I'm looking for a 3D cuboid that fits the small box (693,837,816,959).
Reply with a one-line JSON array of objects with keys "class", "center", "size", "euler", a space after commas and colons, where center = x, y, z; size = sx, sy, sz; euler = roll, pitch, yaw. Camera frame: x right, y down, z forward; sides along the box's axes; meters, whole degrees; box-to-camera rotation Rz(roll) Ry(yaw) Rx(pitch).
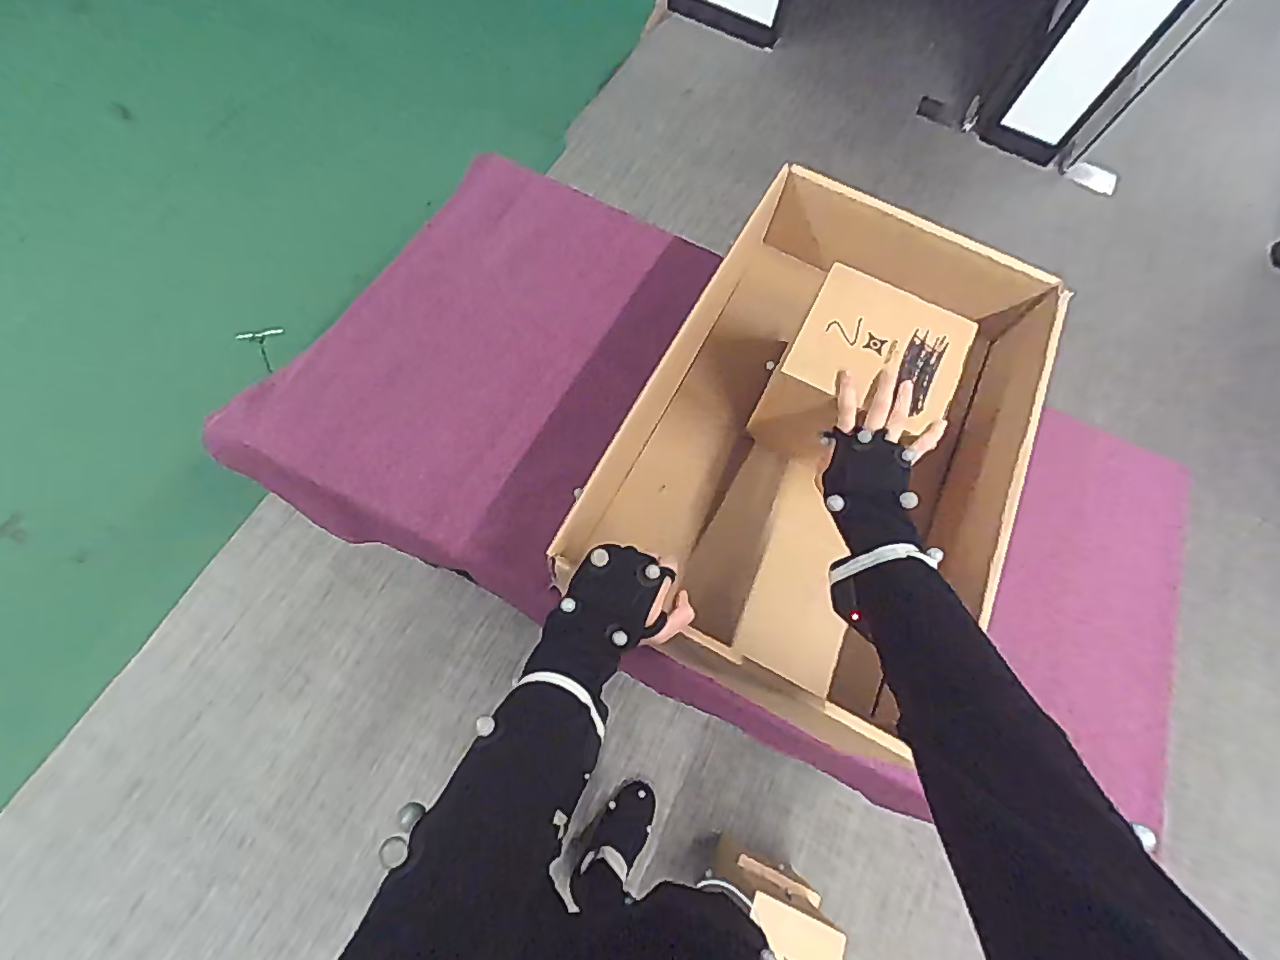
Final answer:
[{"class": "small box", "center": [0.228, 0.873, 1.112], "size": [0.179, 0.176, 0.168], "euler": [25, 69, 5]}]
